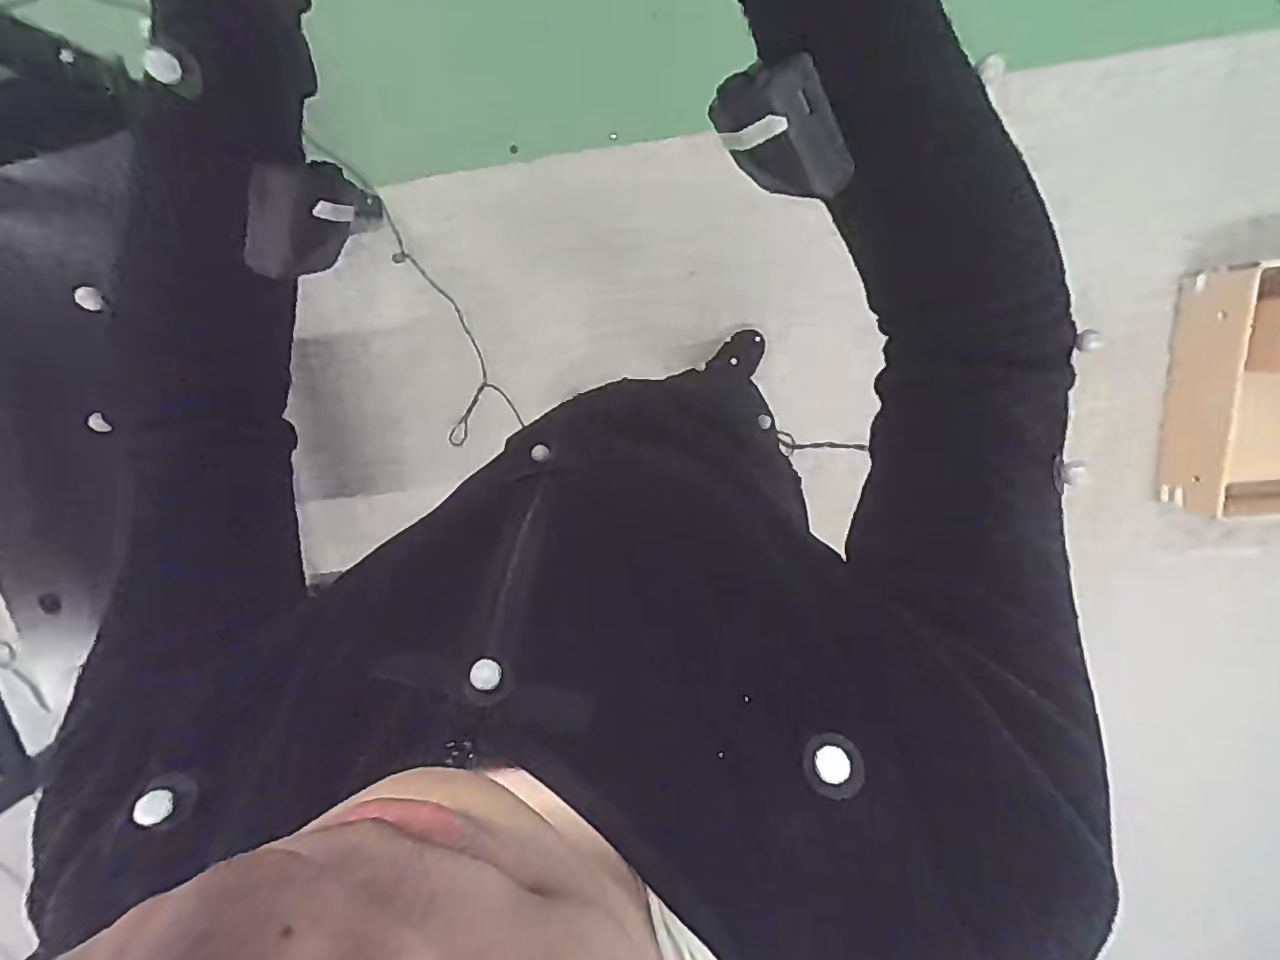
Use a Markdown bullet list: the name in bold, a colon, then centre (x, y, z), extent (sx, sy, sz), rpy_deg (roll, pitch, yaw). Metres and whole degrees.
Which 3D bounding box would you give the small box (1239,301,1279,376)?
- **small box**: centre (1.585, -0.338, 1.271), extent (0.168, 0.176, 0.179), rpy_deg (-6, 105, 7)
